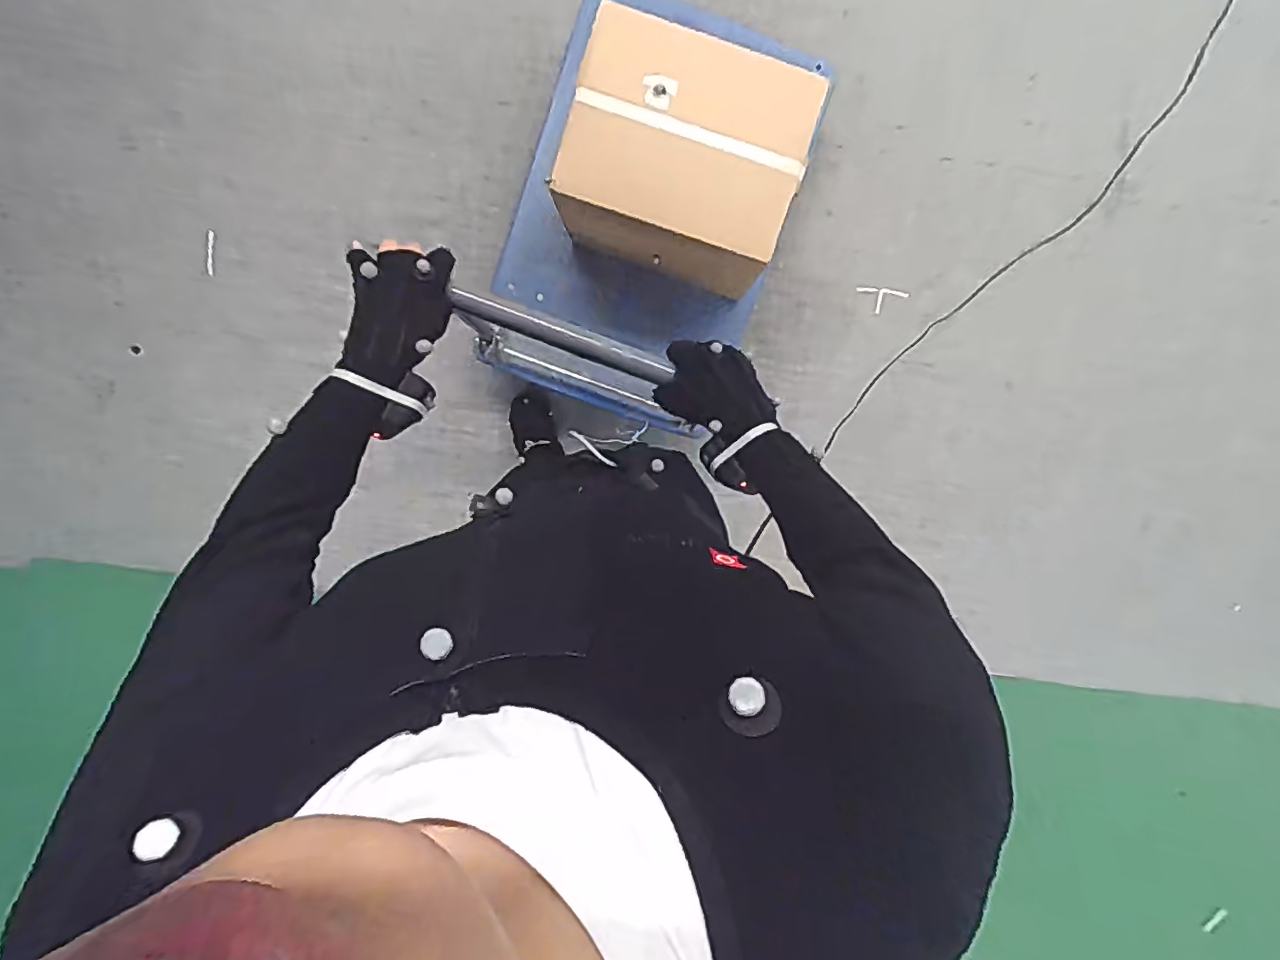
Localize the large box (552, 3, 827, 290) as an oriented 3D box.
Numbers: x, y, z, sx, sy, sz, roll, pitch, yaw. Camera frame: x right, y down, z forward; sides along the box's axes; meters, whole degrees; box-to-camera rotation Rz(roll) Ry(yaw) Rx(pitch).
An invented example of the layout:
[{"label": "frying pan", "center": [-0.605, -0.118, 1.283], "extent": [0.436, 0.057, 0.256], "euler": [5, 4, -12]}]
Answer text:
[{"label": "large box", "center": [0.086, -0.610, 1.065], "extent": [0.408, 0.320, 0.320], "euler": [19, 97, 0]}]
